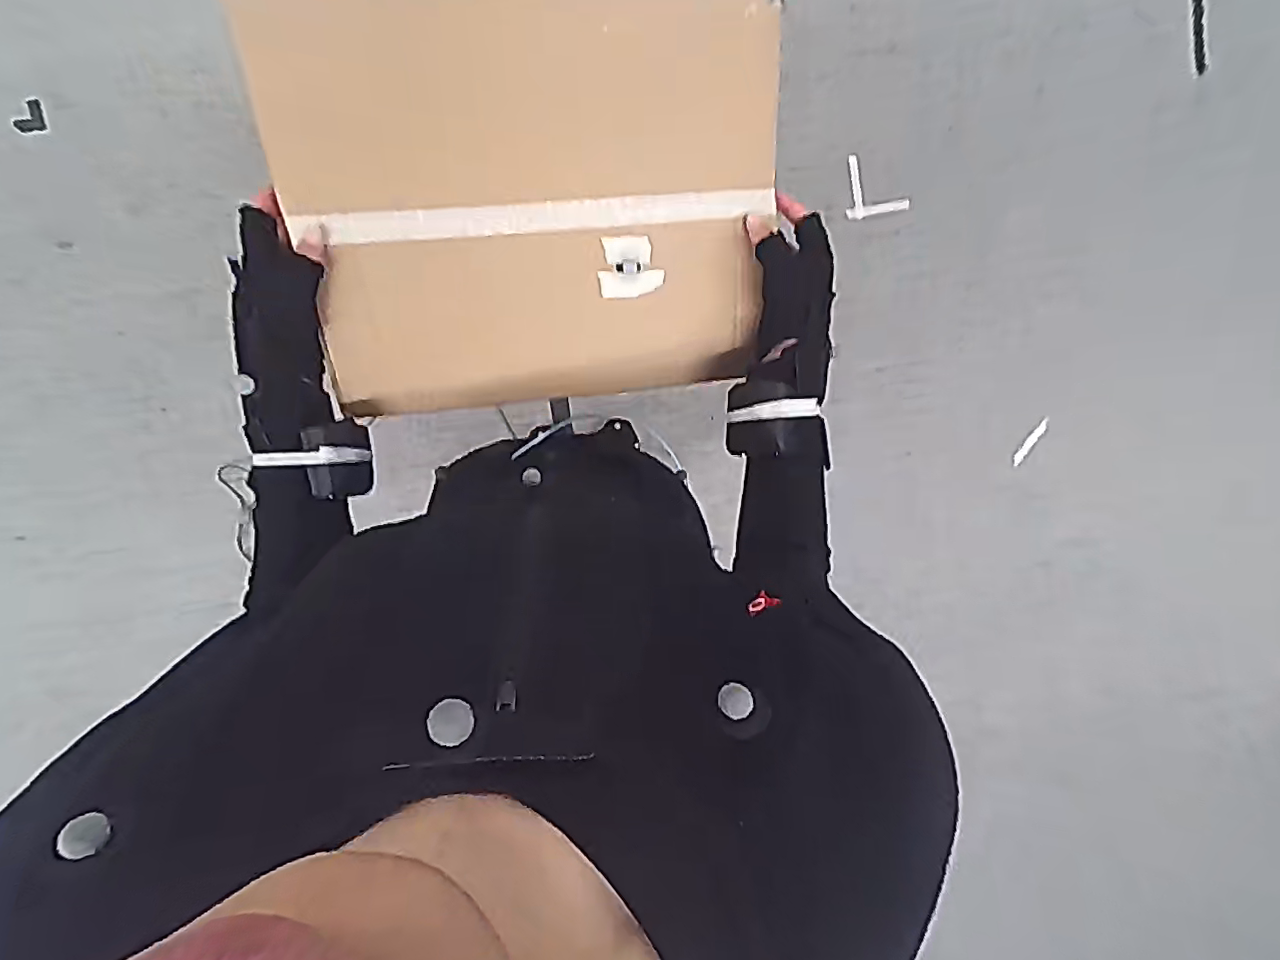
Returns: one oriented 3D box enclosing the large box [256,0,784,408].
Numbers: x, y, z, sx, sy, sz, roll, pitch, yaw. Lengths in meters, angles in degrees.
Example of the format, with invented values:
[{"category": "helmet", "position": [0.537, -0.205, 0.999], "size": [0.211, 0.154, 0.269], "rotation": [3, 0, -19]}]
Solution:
[{"category": "large box", "position": [-0.098, -0.286, 0.600], "size": [0.408, 0.320, 0.320], "rotation": [-7, 115, -9]}]
